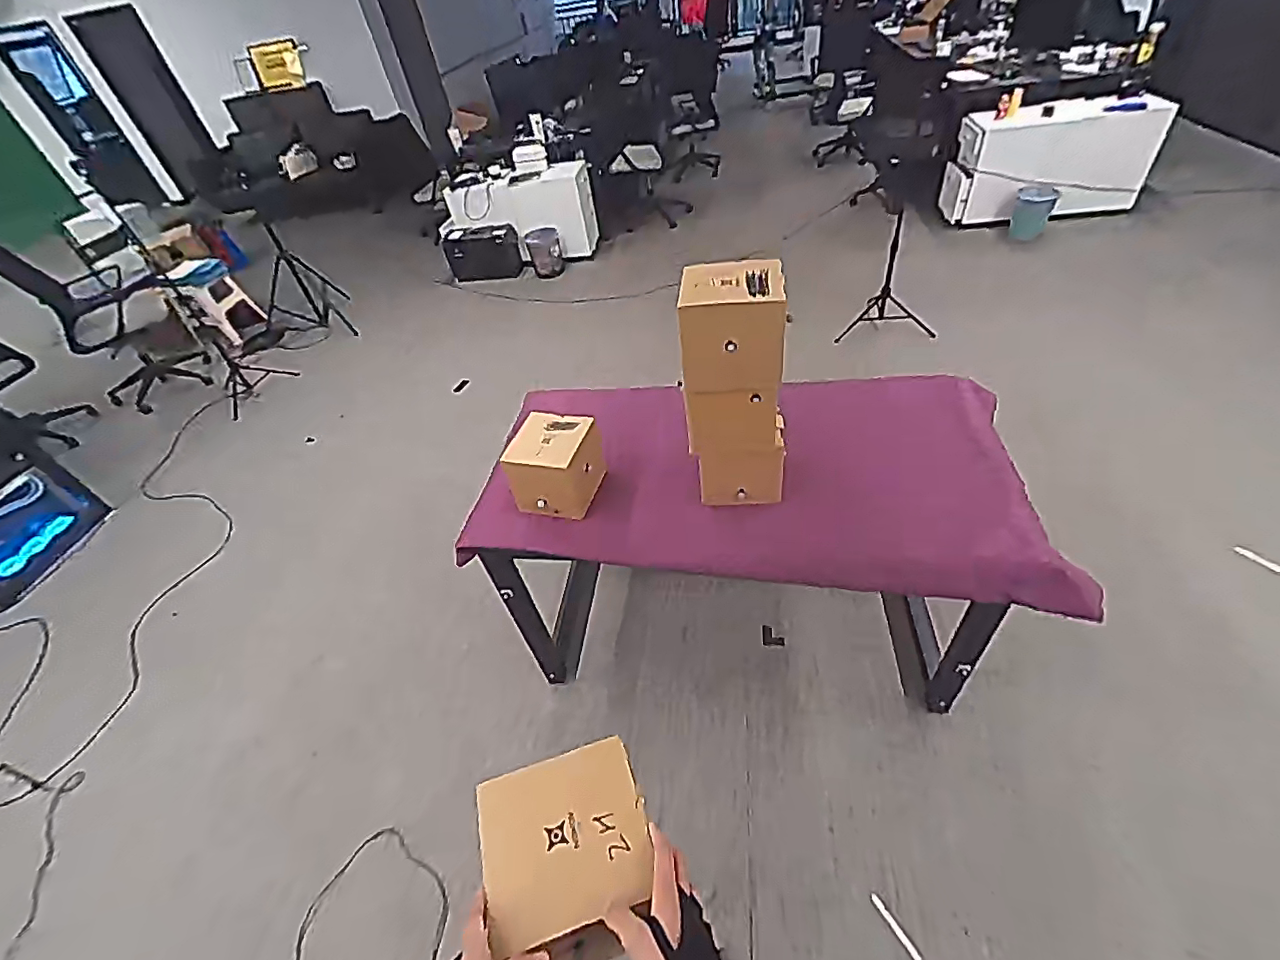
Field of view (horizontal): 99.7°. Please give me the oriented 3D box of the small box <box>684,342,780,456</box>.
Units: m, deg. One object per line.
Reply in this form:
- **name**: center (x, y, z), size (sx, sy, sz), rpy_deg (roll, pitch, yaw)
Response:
- **small box**: center (0.186, -0.161, 1.094), size (0.179, 0.176, 0.168), rpy_deg (-2, 43, 9)

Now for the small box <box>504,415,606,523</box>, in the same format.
- **small box**: center (-0.188, -0.027, 1.263), size (0.168, 0.176, 0.179), rpy_deg (7, 46, 18)

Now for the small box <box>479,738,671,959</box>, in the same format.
- **small box**: center (-0.071, 0.436, 0.617), size (0.179, 0.176, 0.168), rpy_deg (-14, 40, -11)

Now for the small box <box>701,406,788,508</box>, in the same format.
- **small box**: center (0.228, -0.050, 1.209), size (0.179, 0.176, 0.168), rpy_deg (-1, 43, 9)
